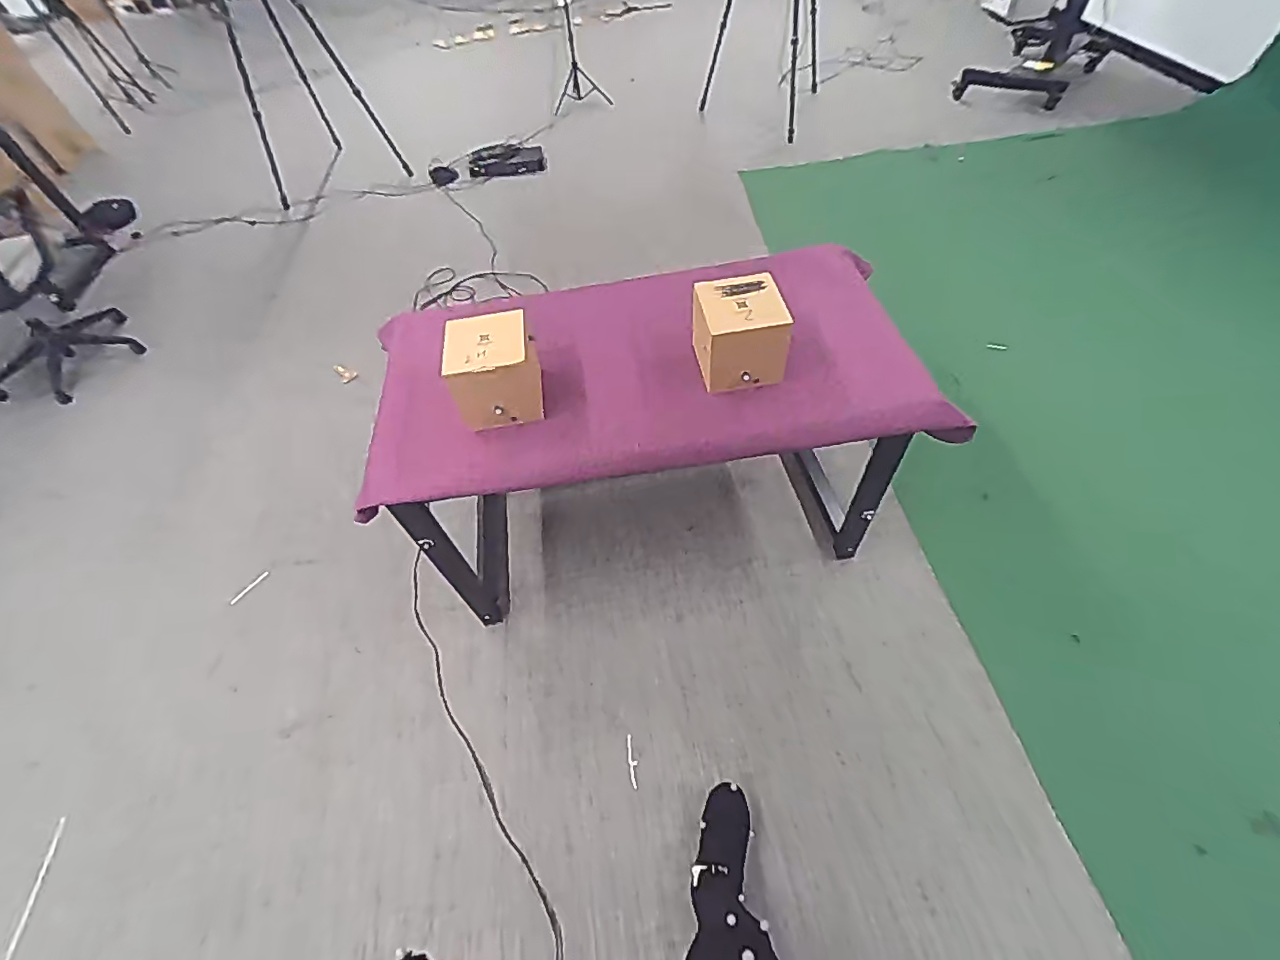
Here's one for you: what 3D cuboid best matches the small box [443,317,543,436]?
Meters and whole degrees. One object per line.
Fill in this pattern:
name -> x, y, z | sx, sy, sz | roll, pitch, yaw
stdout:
small box -> -0.309, -0.221, 1.167 | 0.168, 0.176, 0.179 | -10, 53, -1
